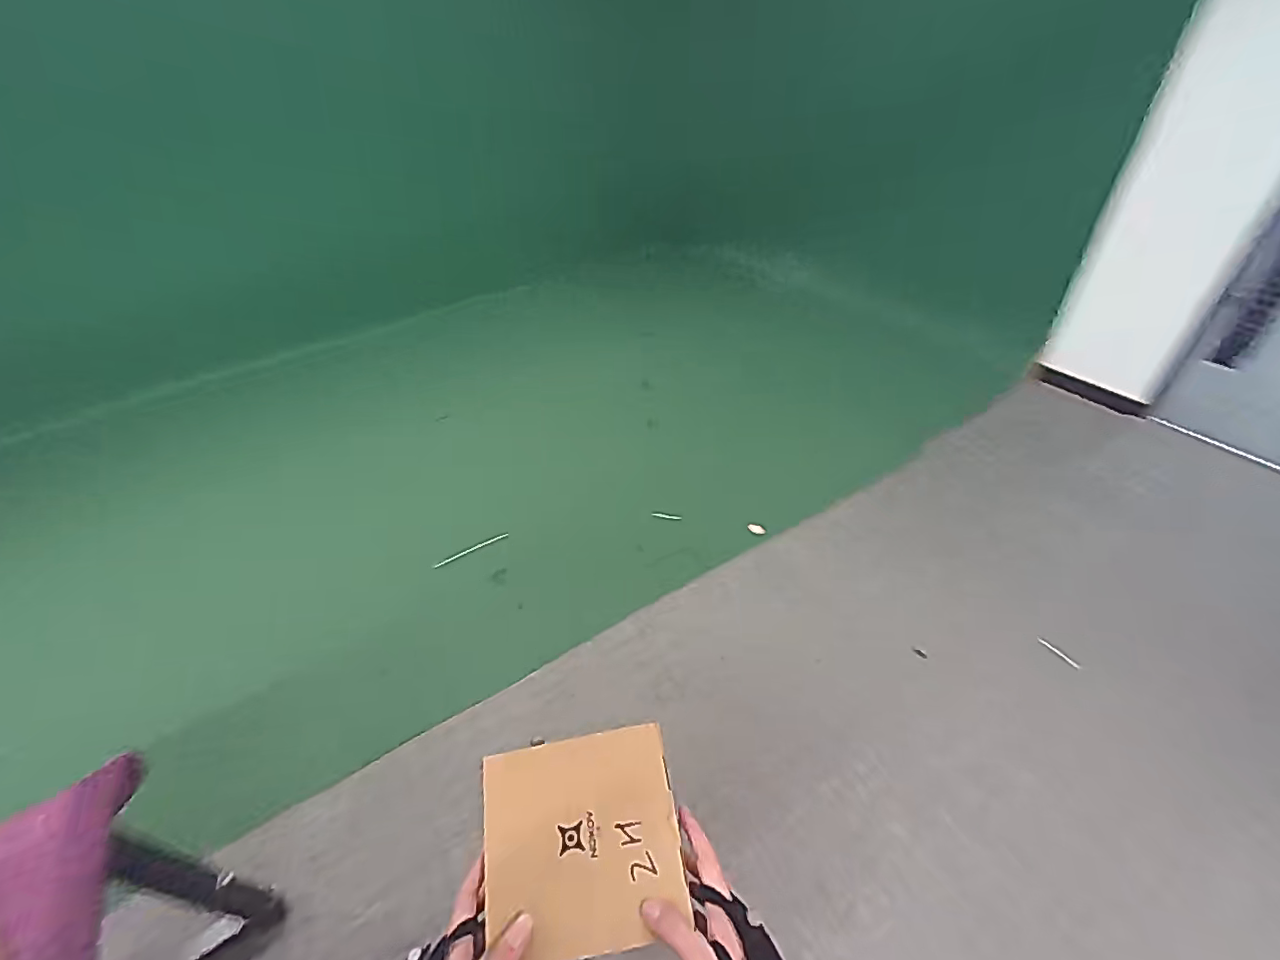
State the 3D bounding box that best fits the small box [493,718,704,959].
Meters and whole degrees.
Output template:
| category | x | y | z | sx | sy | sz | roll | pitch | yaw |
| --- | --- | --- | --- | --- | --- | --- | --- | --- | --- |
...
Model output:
| category | x | y | z | sx | sy | sz | roll | pitch | yaw |
| --- | --- | --- | --- | --- | --- | --- | --- | --- | --- |
| small box | -0.036 | 0.355 | 0.544 | 0.179 | 0.176 | 0.168 | -9 | 56 | -1 |
